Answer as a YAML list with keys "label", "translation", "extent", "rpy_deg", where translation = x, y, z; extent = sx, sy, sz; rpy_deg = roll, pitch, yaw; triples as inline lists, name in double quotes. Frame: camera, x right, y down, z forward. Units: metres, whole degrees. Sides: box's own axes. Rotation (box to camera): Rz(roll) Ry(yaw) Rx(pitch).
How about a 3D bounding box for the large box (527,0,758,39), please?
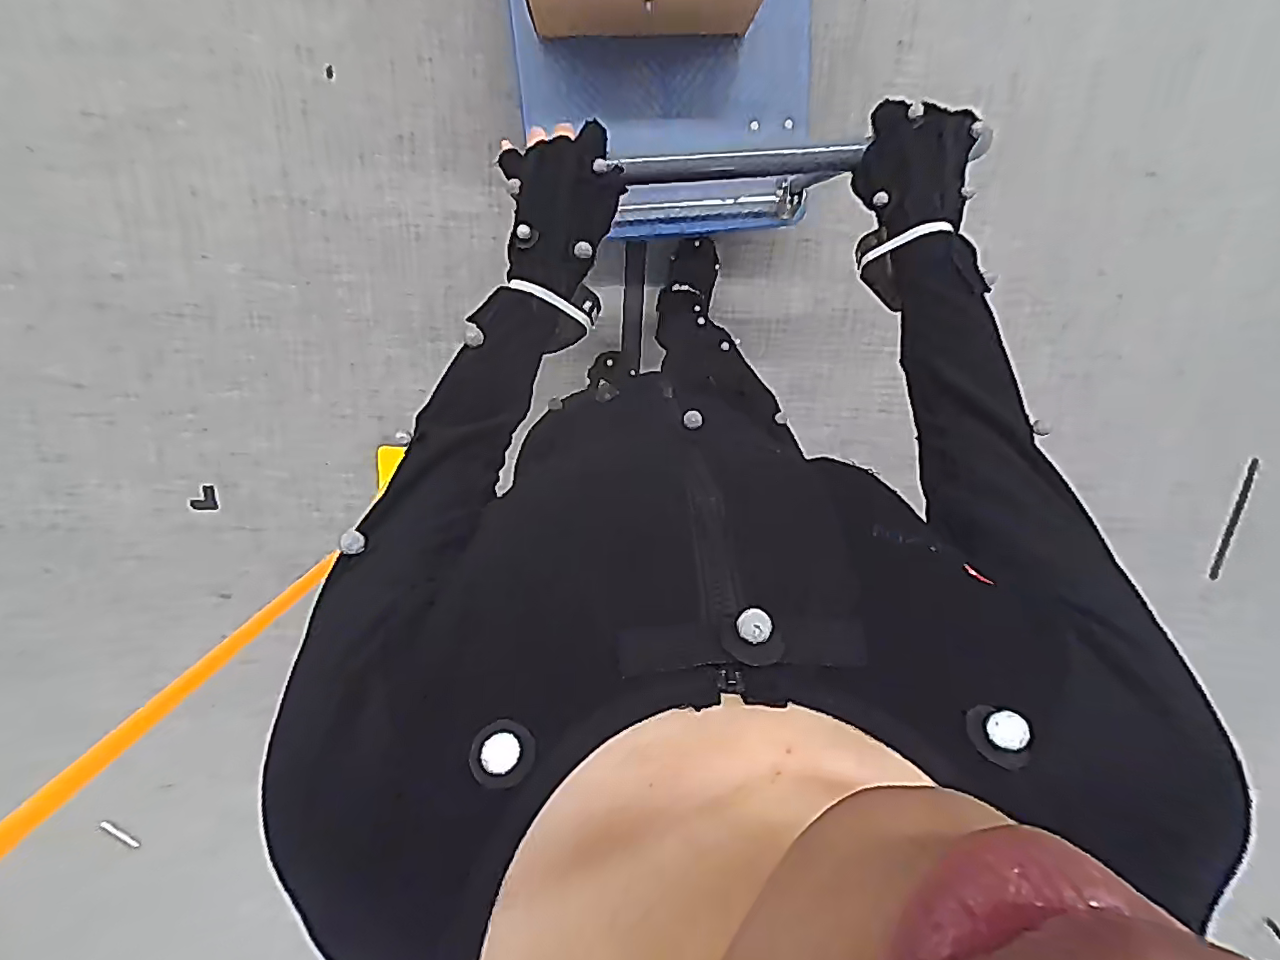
- label: "large box"
  translation: [0.003, -0.952, 0.858]
  extent: [0.408, 0.320, 0.320]
  rpy_deg: [-3, 109, -2]
